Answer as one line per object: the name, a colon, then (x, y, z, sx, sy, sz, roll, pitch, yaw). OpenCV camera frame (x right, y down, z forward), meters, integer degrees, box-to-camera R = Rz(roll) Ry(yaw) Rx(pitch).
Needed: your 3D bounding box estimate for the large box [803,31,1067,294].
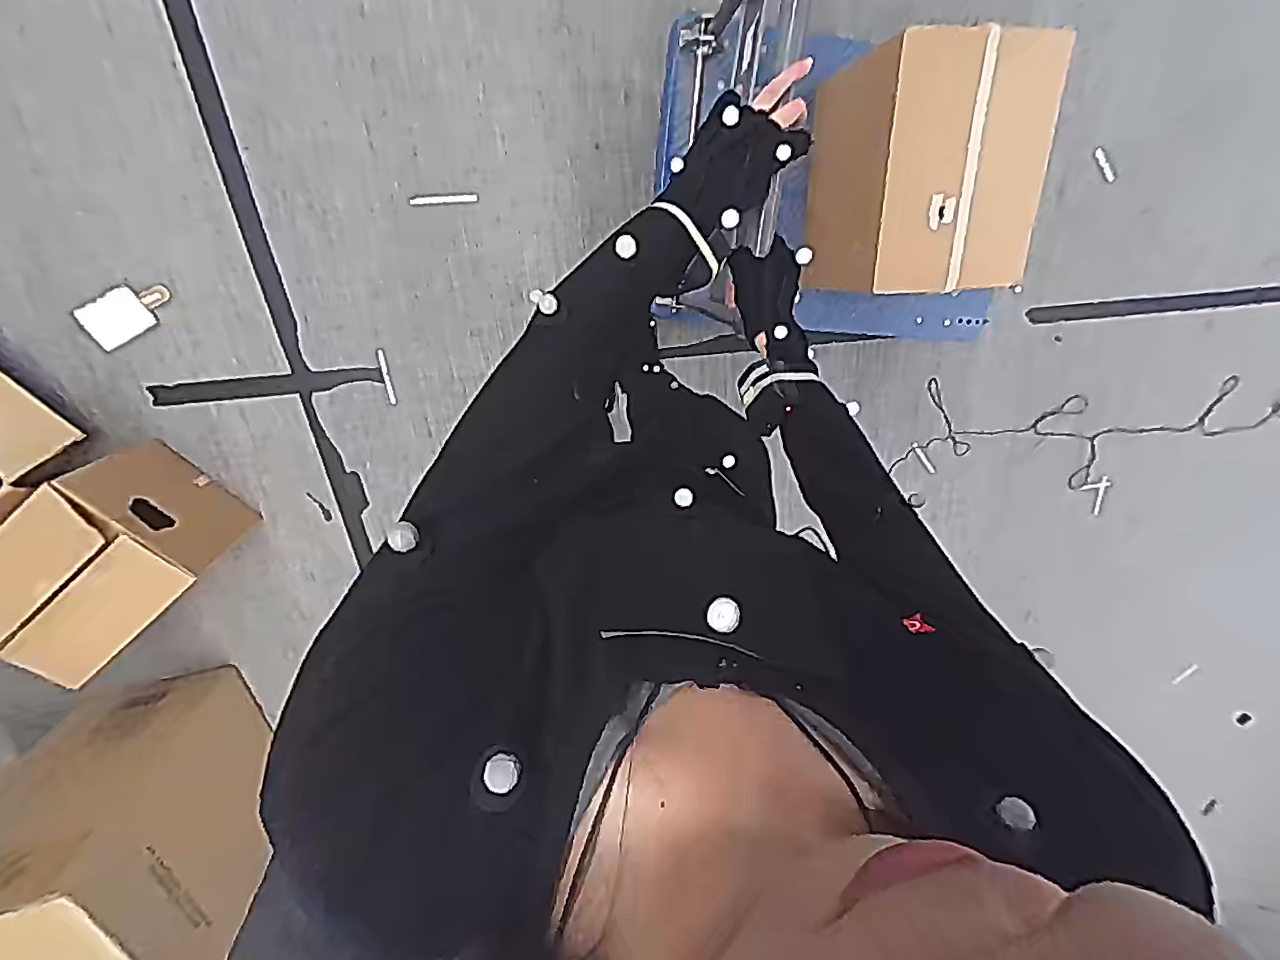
large box: (0.547, -0.601, 1.086, 0.320, 0.320, 0.408, -5, 113, -8)
